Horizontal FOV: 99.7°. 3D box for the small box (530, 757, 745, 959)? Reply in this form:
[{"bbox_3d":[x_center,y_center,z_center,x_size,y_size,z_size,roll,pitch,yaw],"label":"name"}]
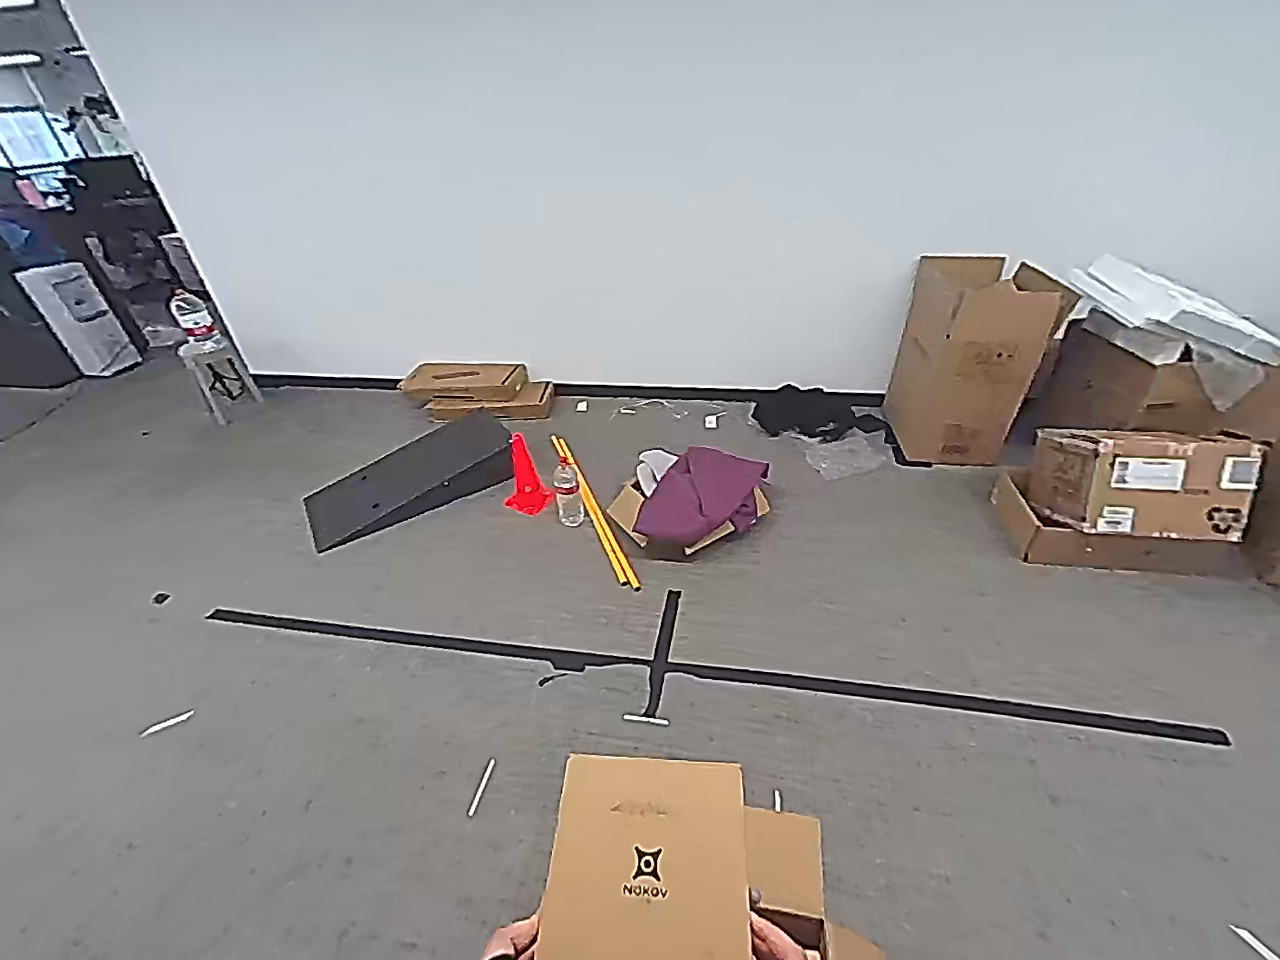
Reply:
[{"bbox_3d":[0.006,0.383,0.499,0.168,0.176,0.179,1,42,4],"label":"small box"}]
